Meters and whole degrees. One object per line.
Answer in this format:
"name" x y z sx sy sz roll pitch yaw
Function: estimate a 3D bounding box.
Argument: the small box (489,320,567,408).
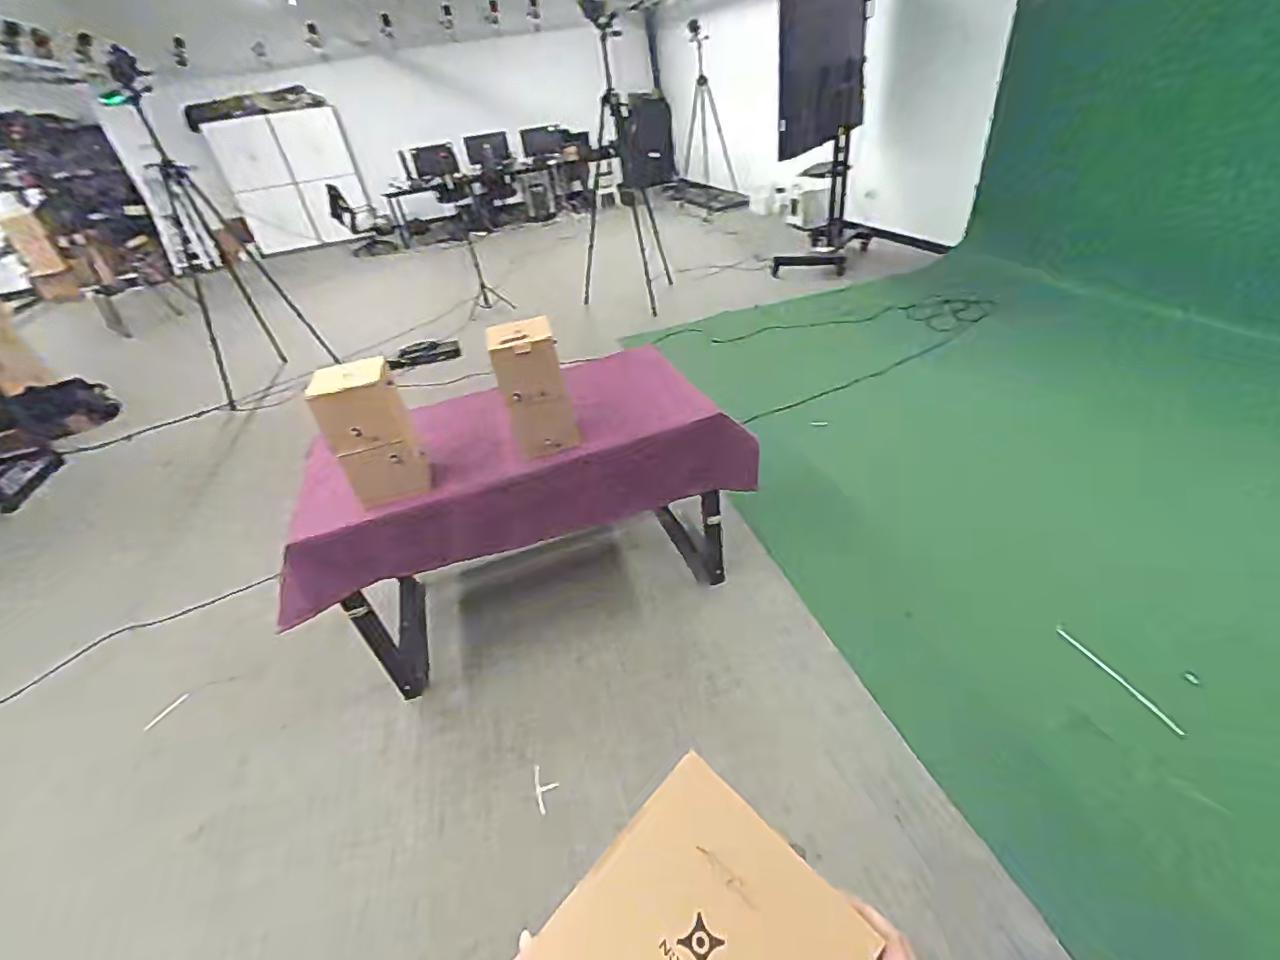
"small box" -0.300 -0.307 1.456 0.168 0.176 0.179 -15 35 -7

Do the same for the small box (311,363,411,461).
"small box" -0.695 -0.174 1.372 0.168 0.176 0.179 -16 37 -9

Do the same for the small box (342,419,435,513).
"small box" -0.667 -0.039 1.459 0.179 0.176 0.168 -17 35 -10
